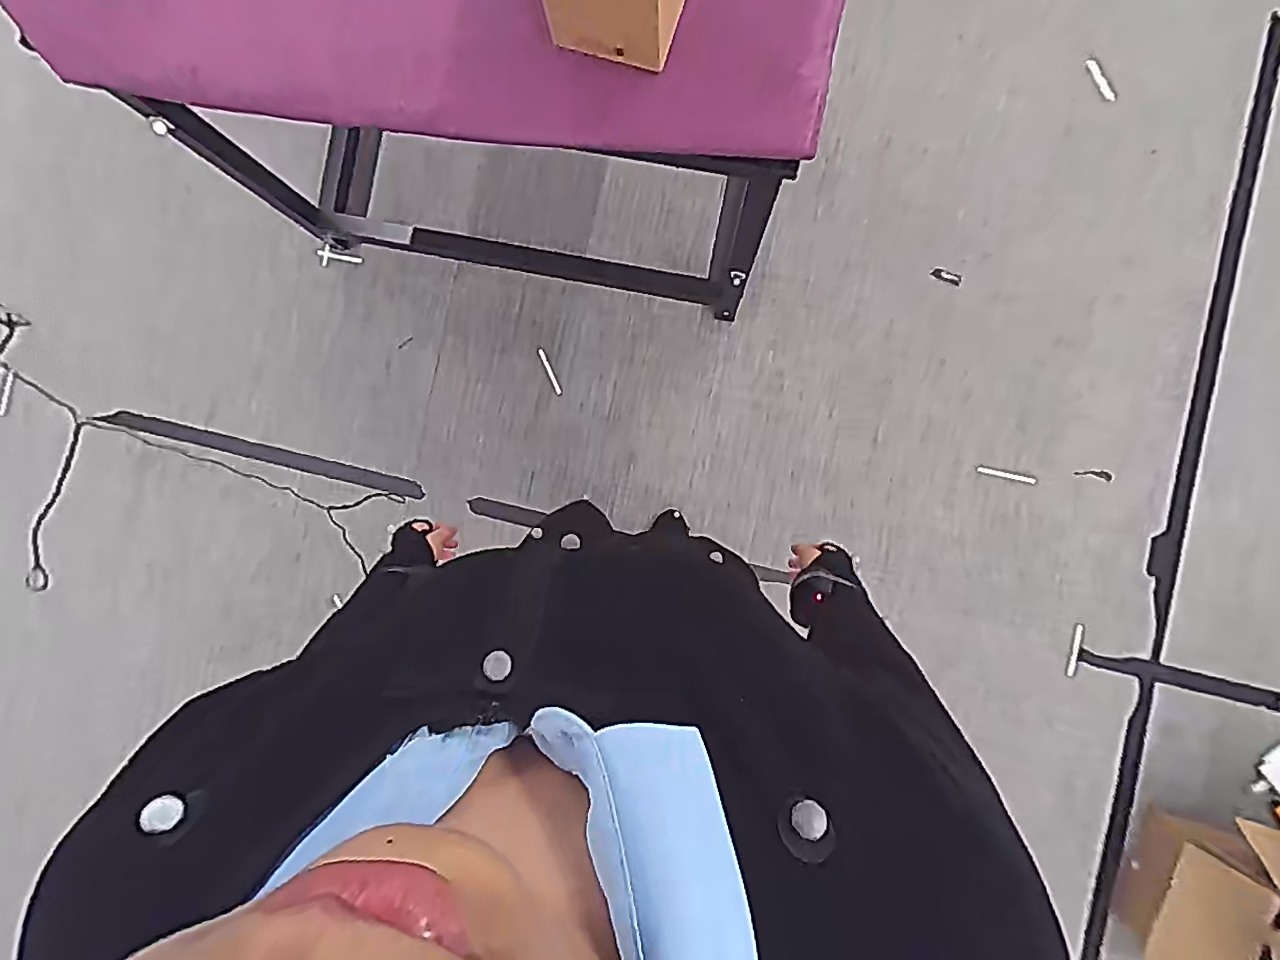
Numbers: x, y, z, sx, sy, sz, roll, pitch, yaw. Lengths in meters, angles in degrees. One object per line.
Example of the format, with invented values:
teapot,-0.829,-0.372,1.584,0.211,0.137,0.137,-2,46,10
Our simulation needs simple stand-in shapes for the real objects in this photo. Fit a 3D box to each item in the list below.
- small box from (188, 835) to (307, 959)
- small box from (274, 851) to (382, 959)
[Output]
small box,-1.010,1.082,1.409,0.168,0.176,0.179,17,89,2
small box,-0.794,1.106,1.395,0.168,0.176,0.179,10,89,5
